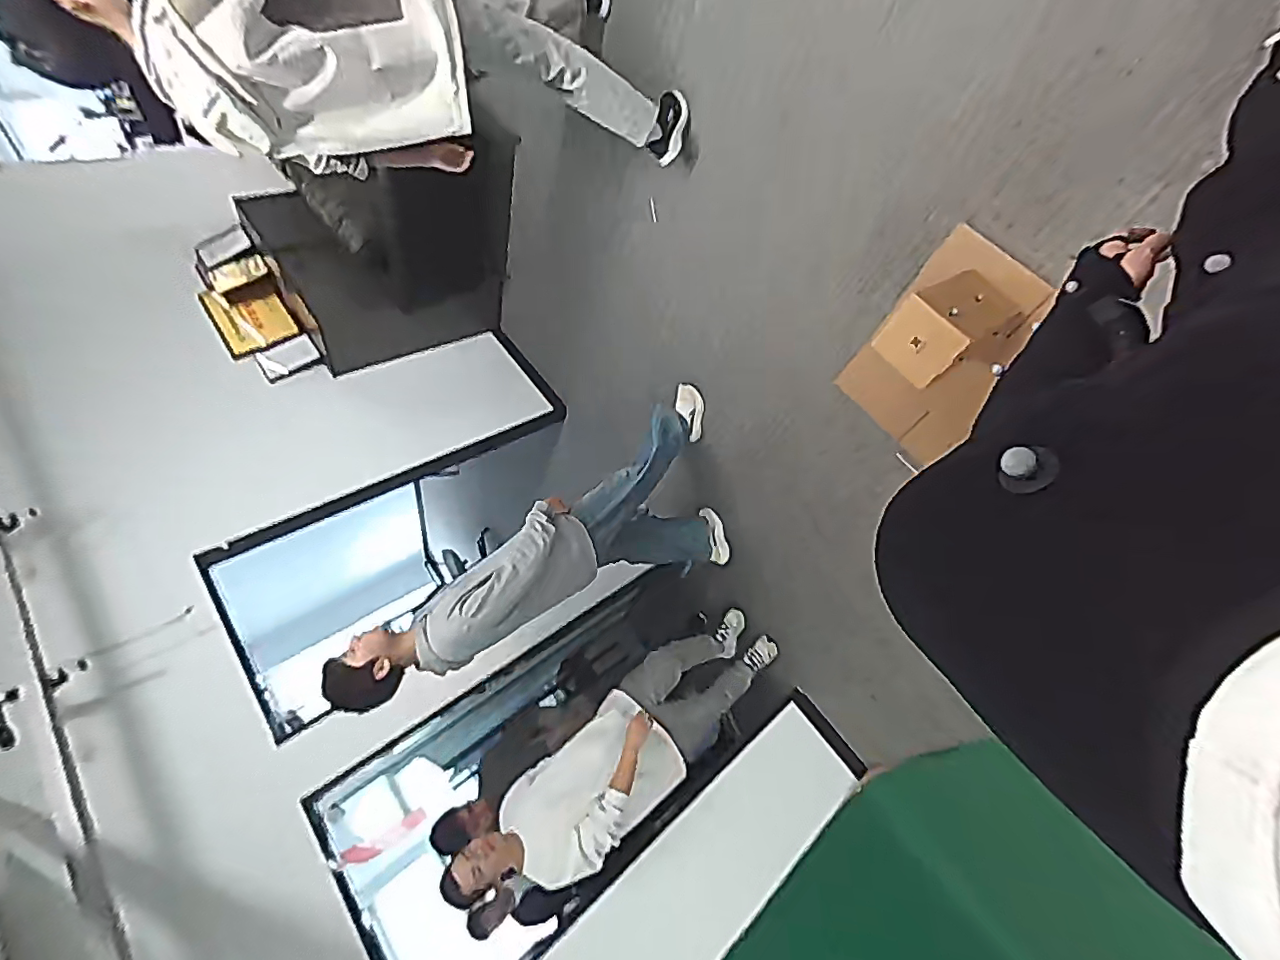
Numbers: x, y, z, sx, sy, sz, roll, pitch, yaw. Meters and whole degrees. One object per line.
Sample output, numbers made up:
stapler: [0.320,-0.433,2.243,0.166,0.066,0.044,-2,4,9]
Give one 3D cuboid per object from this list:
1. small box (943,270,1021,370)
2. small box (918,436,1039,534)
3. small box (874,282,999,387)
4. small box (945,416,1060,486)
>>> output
small box: [0.846,-0.426,1.420,0.179,0.176,0.168,50,147,17]
small box: [0.873,0.006,1.397,0.179,0.176,0.168,54,148,12]
small box: [0.728,-0.364,1.329,0.179,0.176,0.168,49,145,17]
small box: [0.997,-0.056,1.488,0.179,0.176,0.168,55,148,11]
